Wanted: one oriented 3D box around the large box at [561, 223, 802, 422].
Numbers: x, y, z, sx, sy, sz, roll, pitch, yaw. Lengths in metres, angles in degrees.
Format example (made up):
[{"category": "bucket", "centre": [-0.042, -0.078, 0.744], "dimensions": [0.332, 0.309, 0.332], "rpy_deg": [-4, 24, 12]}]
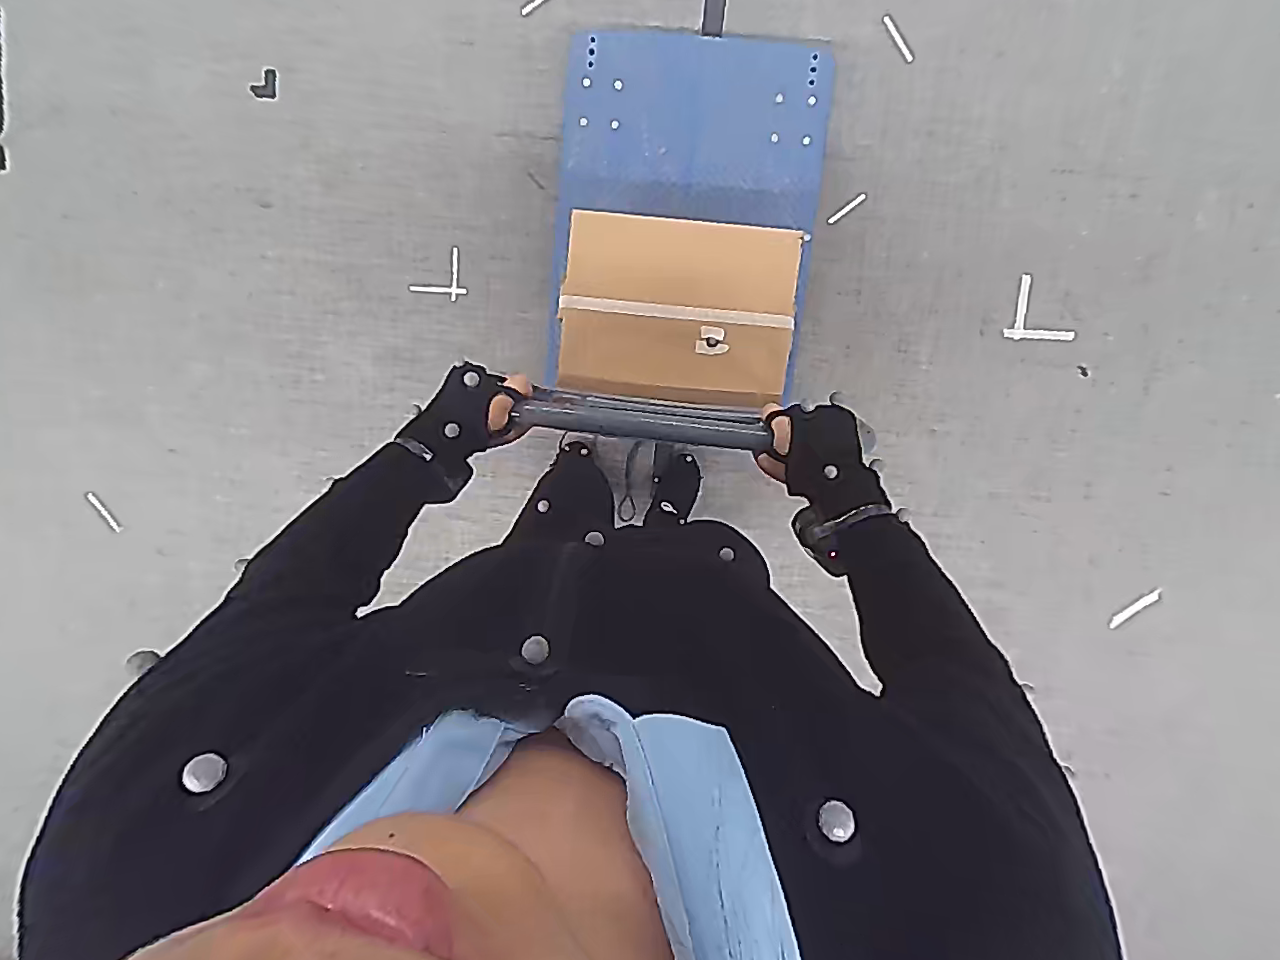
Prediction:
[{"category": "large box", "centre": [0.070, -0.288, 1.090], "dimensions": [0.408, 0.320, 0.320], "rpy_deg": [6, 97, 1]}]
